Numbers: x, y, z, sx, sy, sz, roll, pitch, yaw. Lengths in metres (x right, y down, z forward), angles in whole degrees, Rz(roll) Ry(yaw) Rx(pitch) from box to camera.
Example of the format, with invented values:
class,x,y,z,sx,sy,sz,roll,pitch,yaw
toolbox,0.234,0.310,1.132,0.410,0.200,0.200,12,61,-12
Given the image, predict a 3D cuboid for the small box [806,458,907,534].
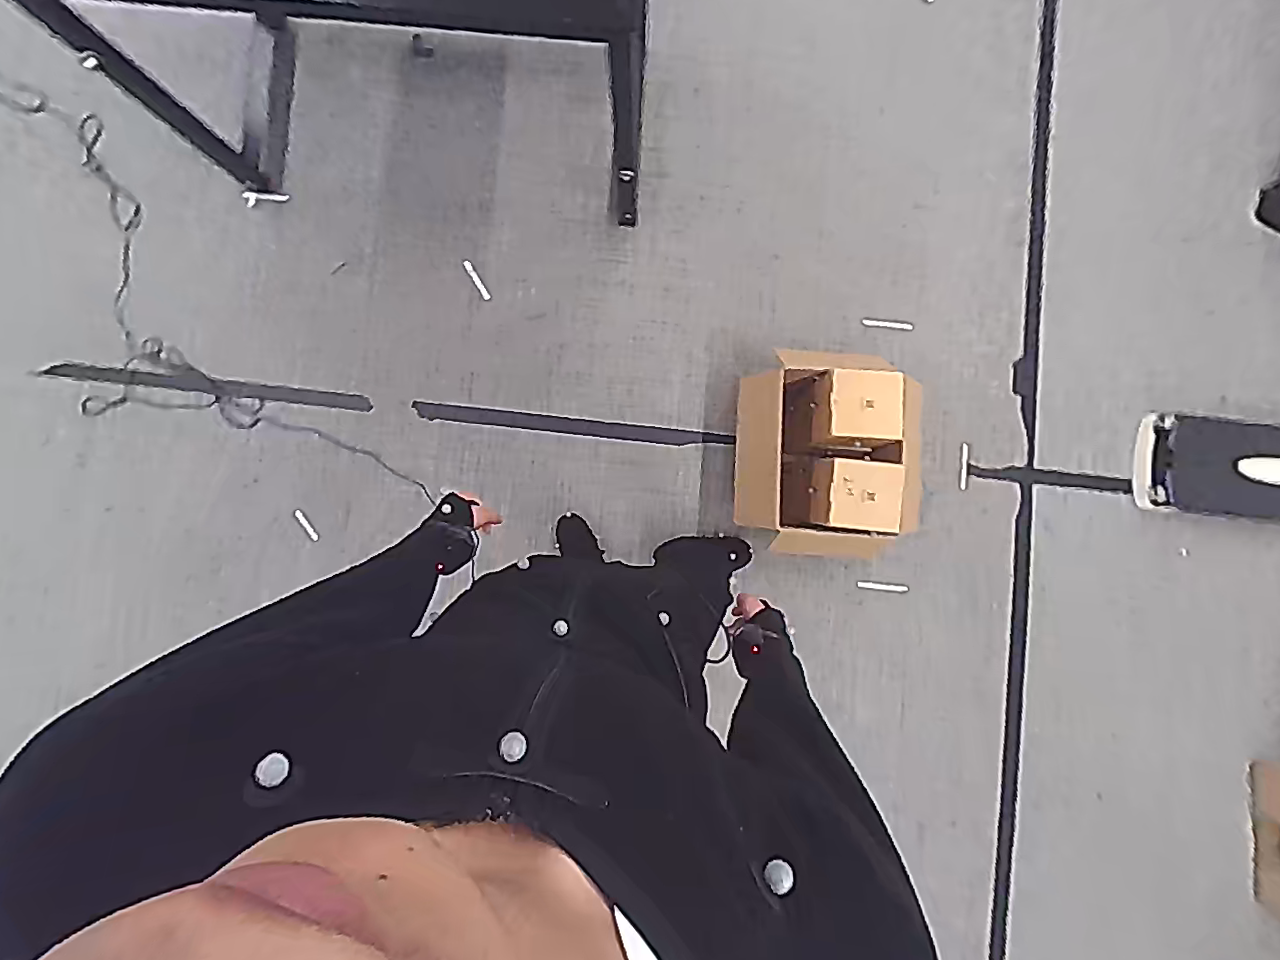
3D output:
class,x,y,z,sx,sy,sz,roll,pitch,yaw
small box,0.540,0.040,1.364,0.179,0.176,0.168,7,88,0
